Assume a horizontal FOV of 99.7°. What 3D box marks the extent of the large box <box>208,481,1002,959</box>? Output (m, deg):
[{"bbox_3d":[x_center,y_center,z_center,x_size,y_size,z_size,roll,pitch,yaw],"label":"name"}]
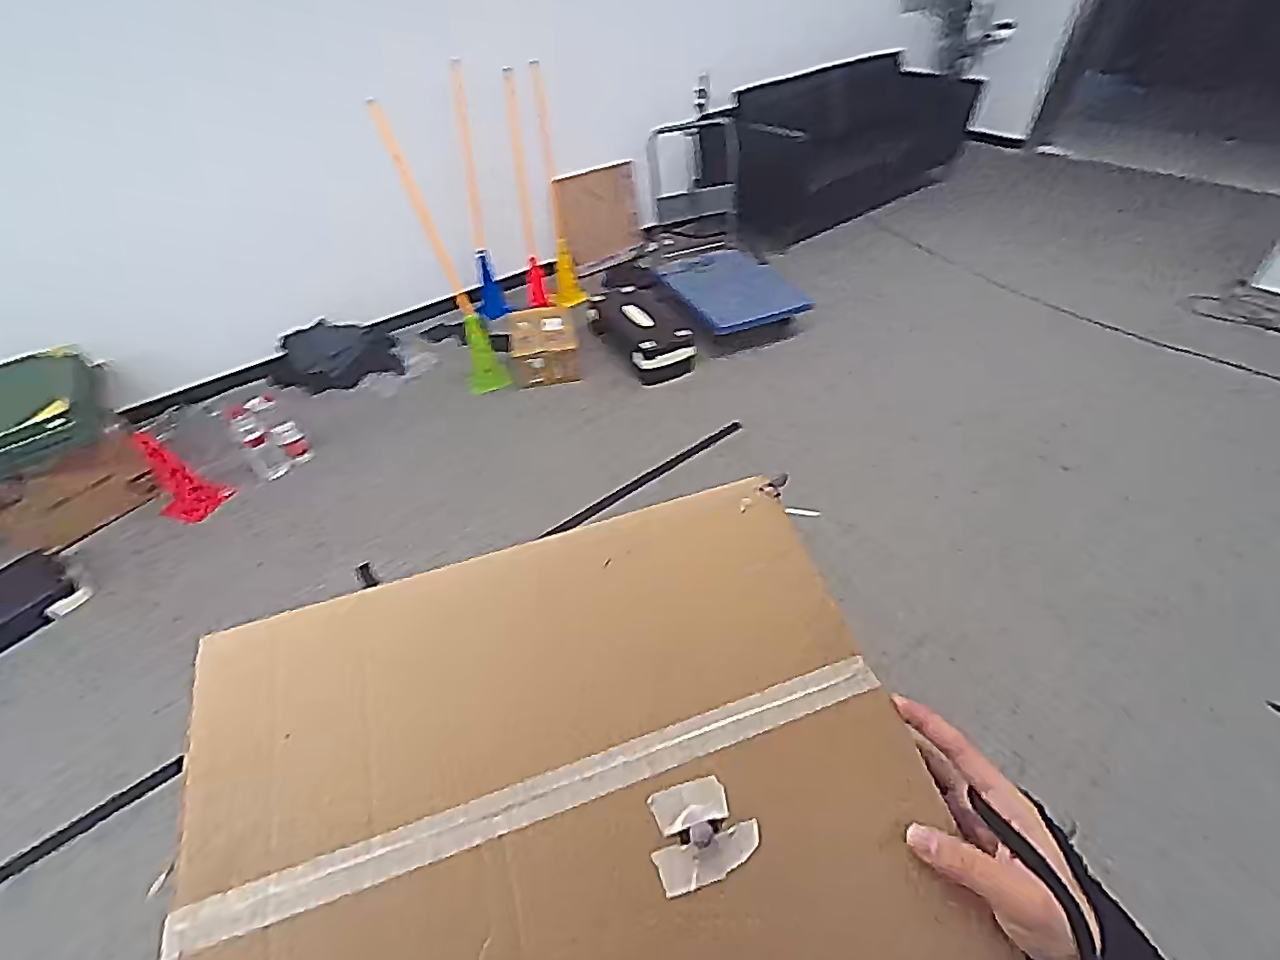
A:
[{"bbox_3d":[-0.043,0.254,0.450,0.408,0.320,0.320,-15,61,-10],"label":"large box"}]
